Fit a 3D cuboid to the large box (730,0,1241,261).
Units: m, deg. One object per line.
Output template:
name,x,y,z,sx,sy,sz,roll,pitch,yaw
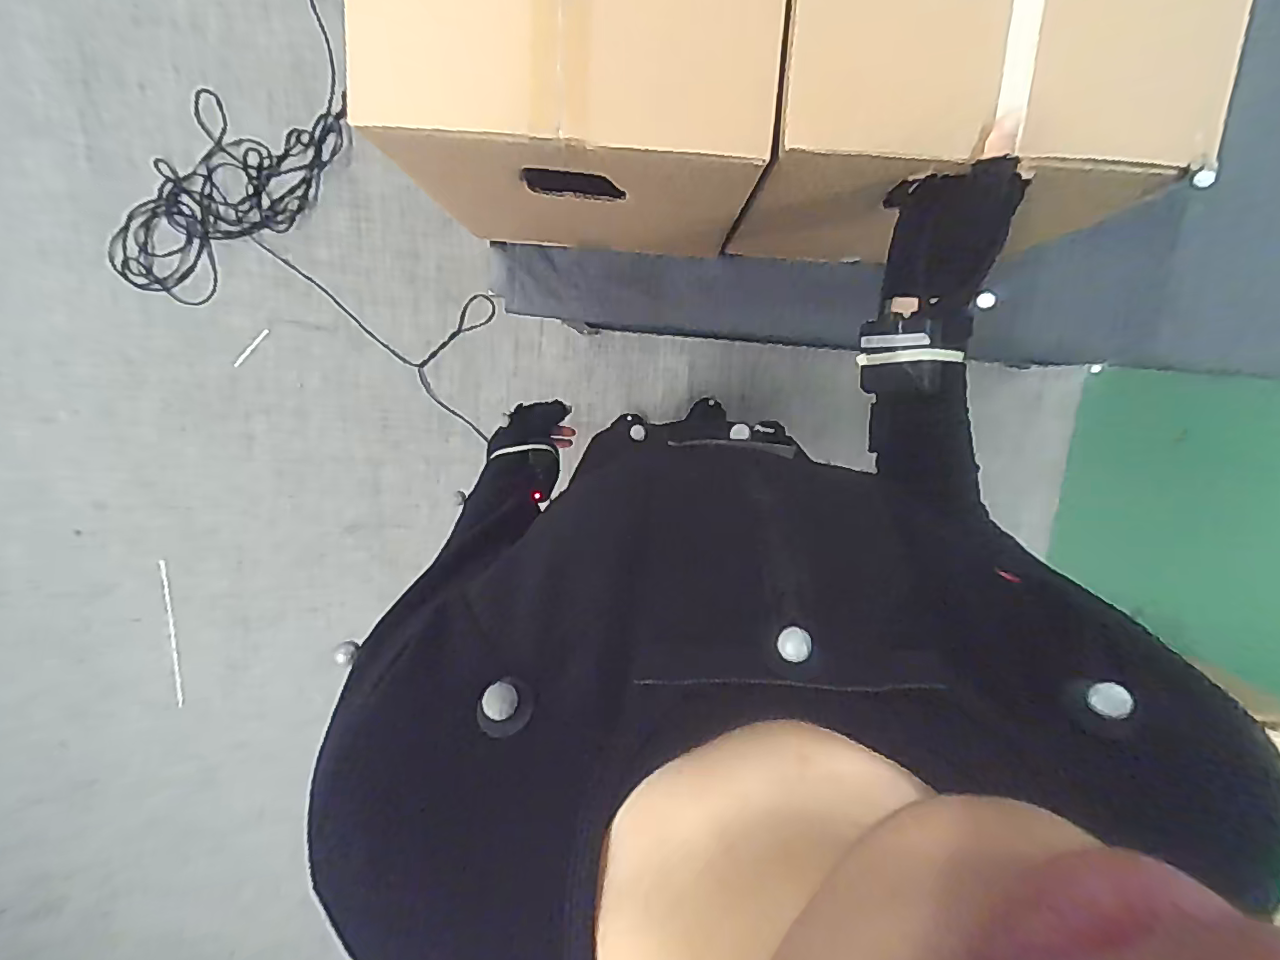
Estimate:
large box,0.269,-0.454,0.505,0.320,0.320,0.408,4,101,2
